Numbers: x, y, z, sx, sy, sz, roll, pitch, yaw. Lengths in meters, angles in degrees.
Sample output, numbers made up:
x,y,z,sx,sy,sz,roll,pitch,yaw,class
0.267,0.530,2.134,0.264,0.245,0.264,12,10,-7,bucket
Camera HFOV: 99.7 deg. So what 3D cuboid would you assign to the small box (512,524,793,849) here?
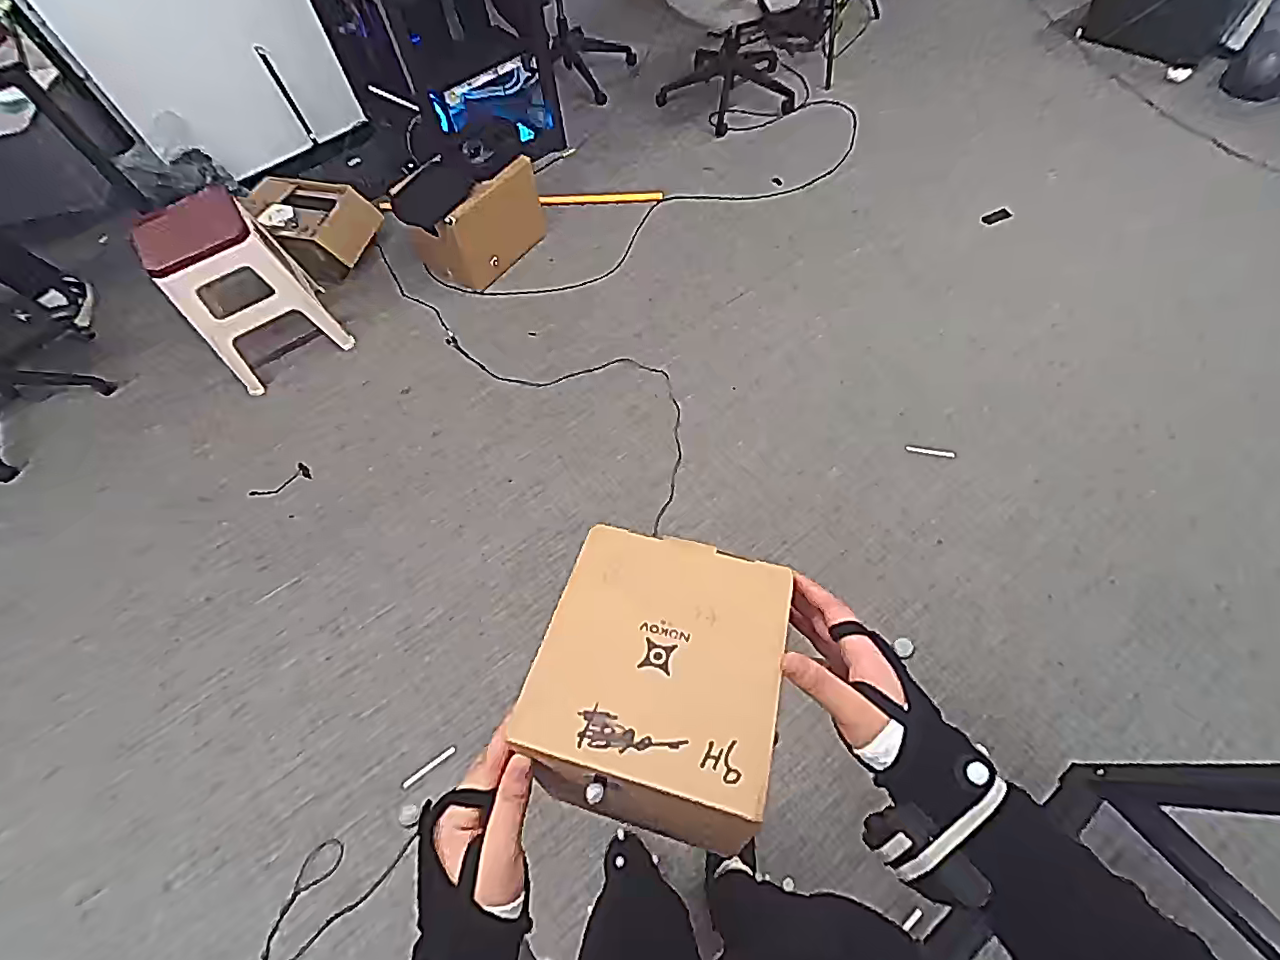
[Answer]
x,y,z,sx,sy,sz,roll,pitch,yaw,class
0.020,0.167,0.442,0.168,0.176,0.179,11,50,13,small box
